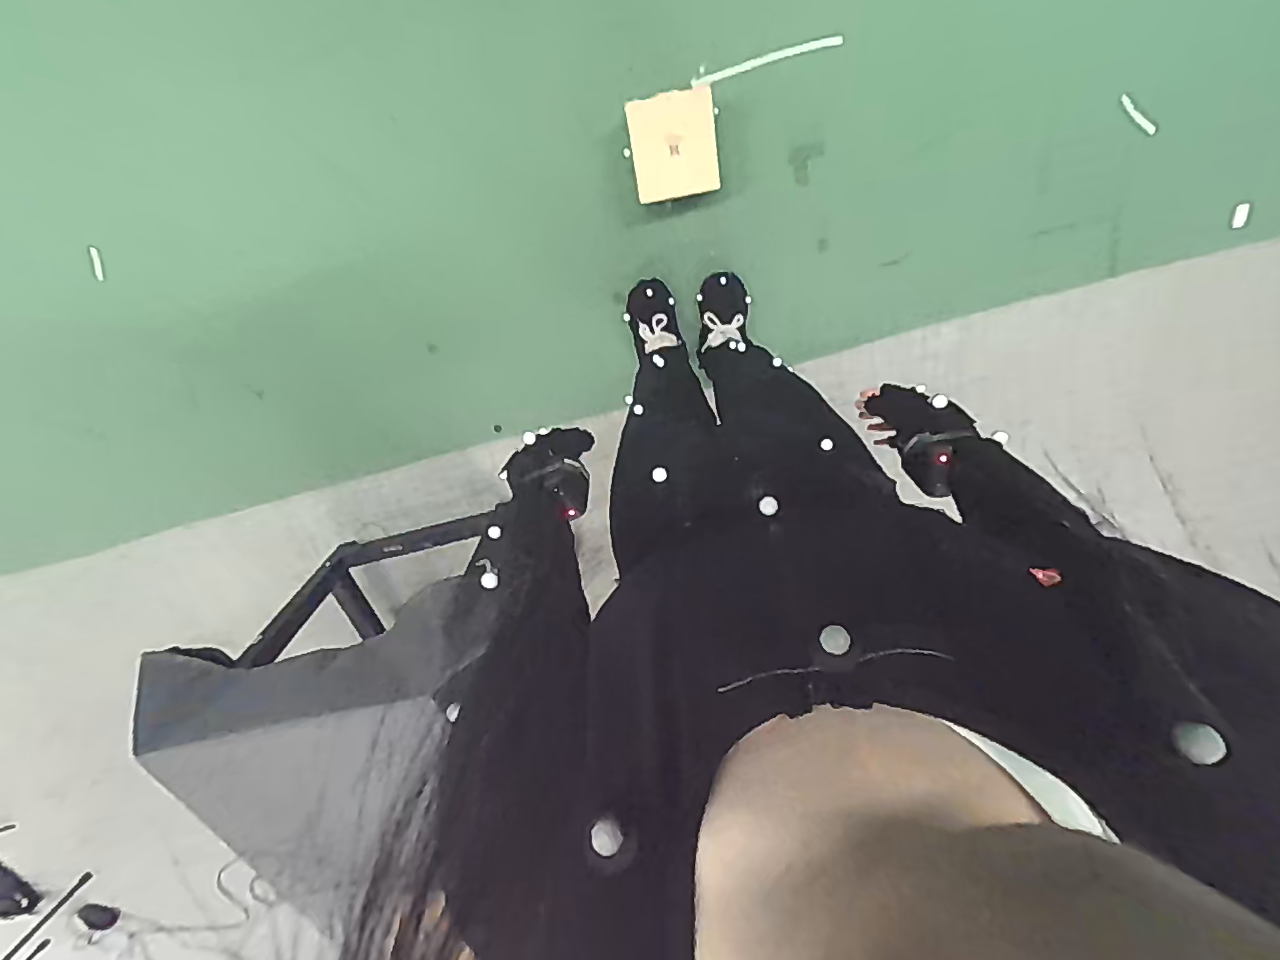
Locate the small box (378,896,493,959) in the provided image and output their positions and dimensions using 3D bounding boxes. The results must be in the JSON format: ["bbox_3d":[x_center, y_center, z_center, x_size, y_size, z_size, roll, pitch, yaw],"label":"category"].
[{"bbox_3d":[-0.436,1.023,1.141,0.179,0.176,0.168,-13,115,6],"label":"small box"}]

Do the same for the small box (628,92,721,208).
[{"bbox_3d":[0.074,-0.677,1.129,0.168,0.176,0.179,-9,115,5],"label":"small box"}]
